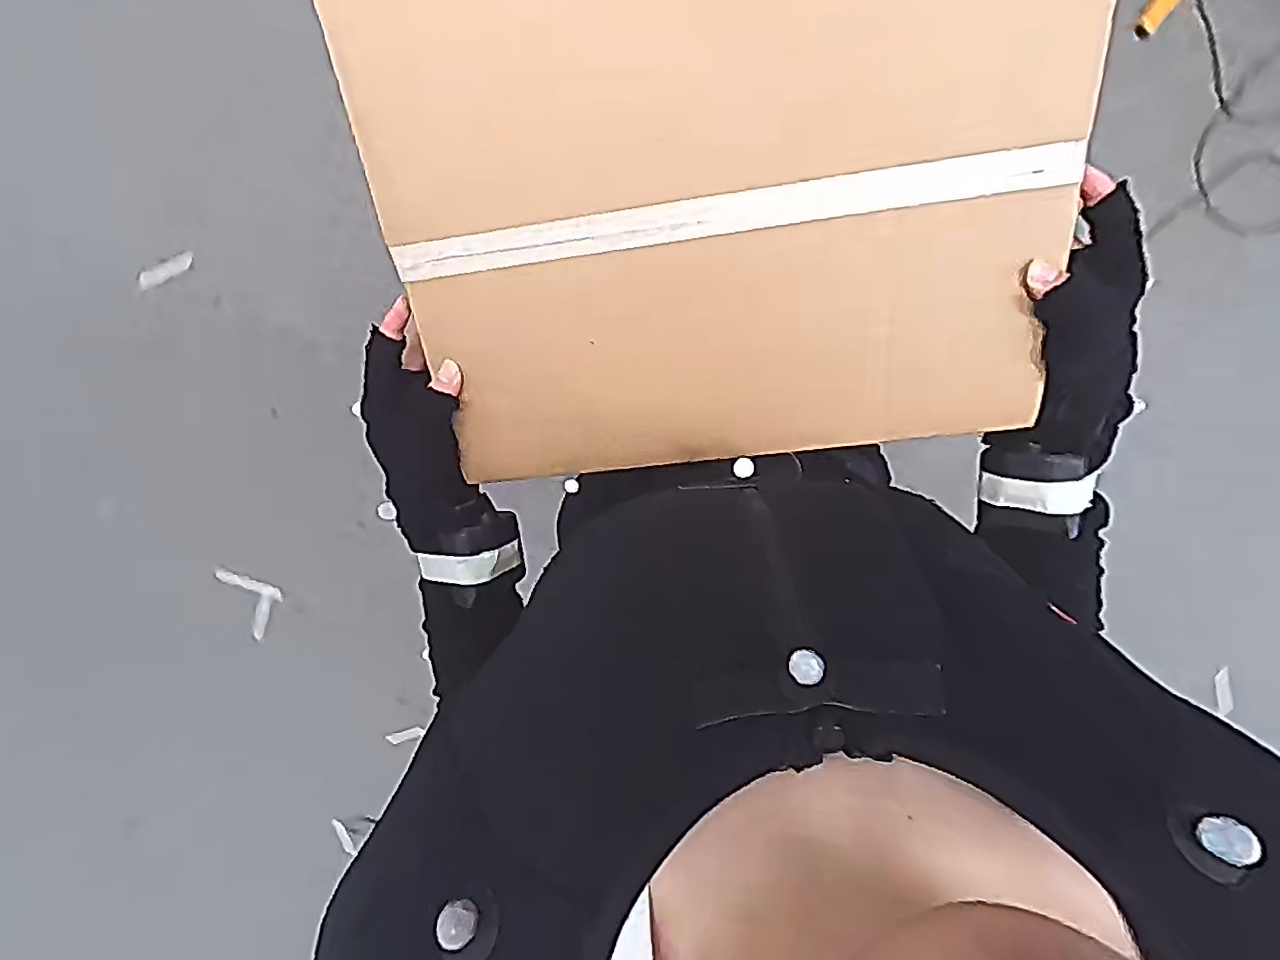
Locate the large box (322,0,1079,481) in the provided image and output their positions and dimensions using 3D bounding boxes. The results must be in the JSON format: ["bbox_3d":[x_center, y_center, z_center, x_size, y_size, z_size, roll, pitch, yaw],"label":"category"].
[{"bbox_3d":[0.048,-0.224,0.467,0.408,0.320,0.320,-7,116,6],"label":"large box"}]
